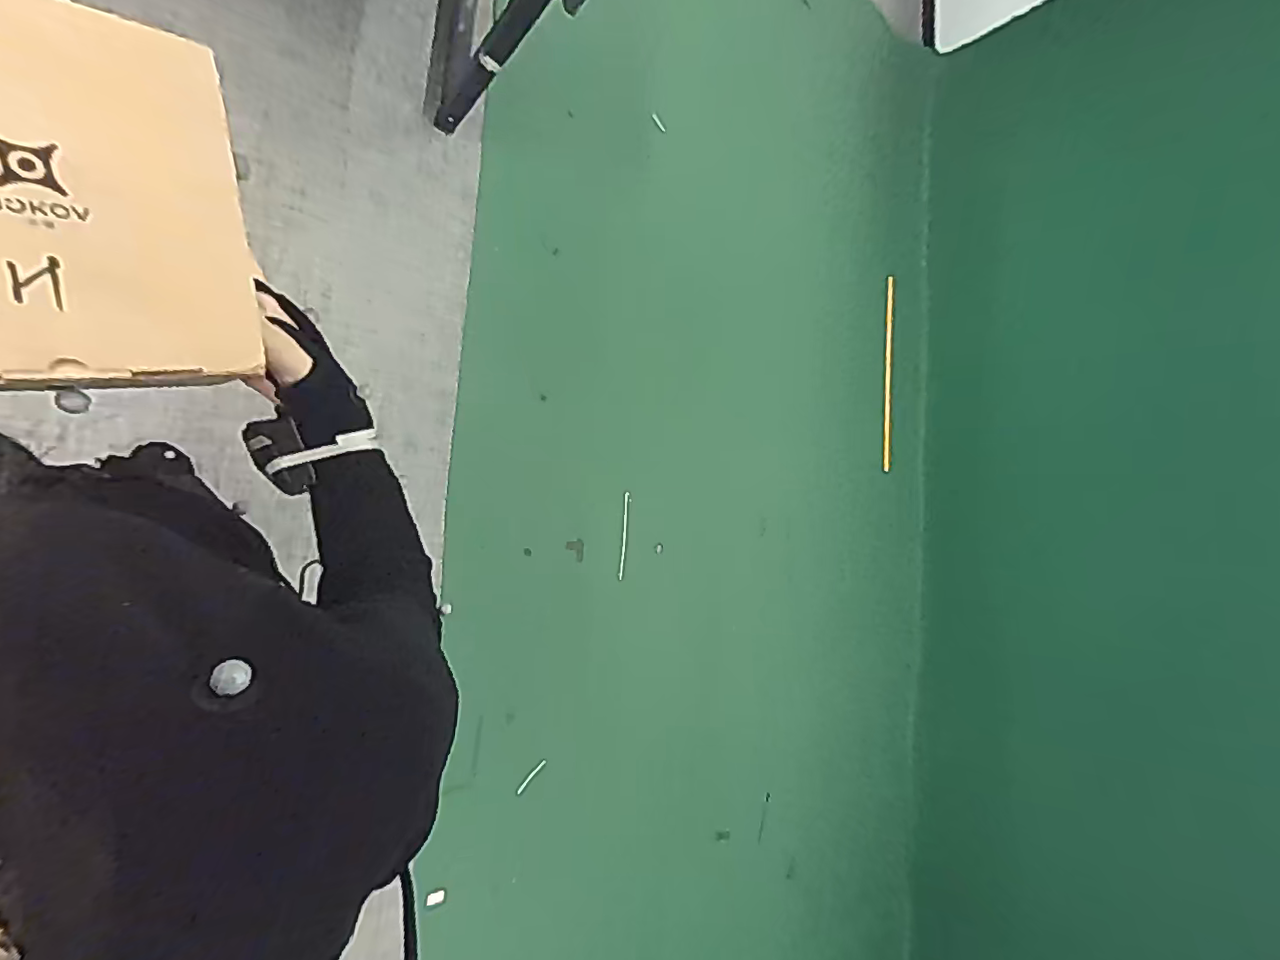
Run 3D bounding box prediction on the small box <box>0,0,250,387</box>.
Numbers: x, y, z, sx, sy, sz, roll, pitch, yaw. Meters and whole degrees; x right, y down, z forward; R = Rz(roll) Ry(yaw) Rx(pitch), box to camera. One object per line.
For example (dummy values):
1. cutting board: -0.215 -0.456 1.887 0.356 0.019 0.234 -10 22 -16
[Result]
1. small box: -0.352 -0.145 0.306 0.168 0.176 0.179 -13 105 -46
